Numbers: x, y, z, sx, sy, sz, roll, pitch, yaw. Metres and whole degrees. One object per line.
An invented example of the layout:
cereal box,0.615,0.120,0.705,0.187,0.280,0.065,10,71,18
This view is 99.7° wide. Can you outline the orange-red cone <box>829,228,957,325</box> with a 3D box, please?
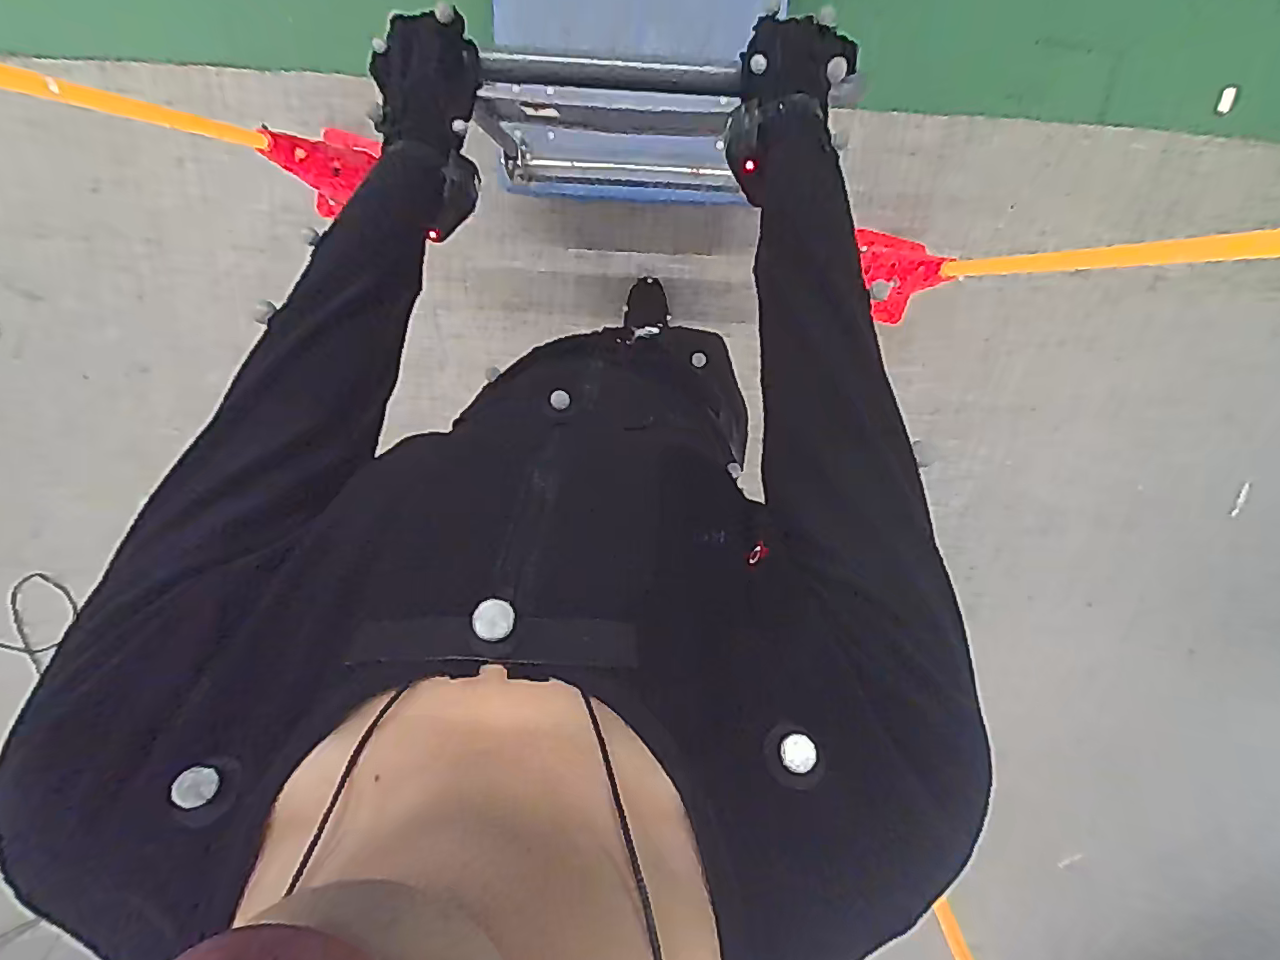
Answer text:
orange-red cone,0.589,-0.452,1.191,0.198,0.360,0.199,15,109,-3
